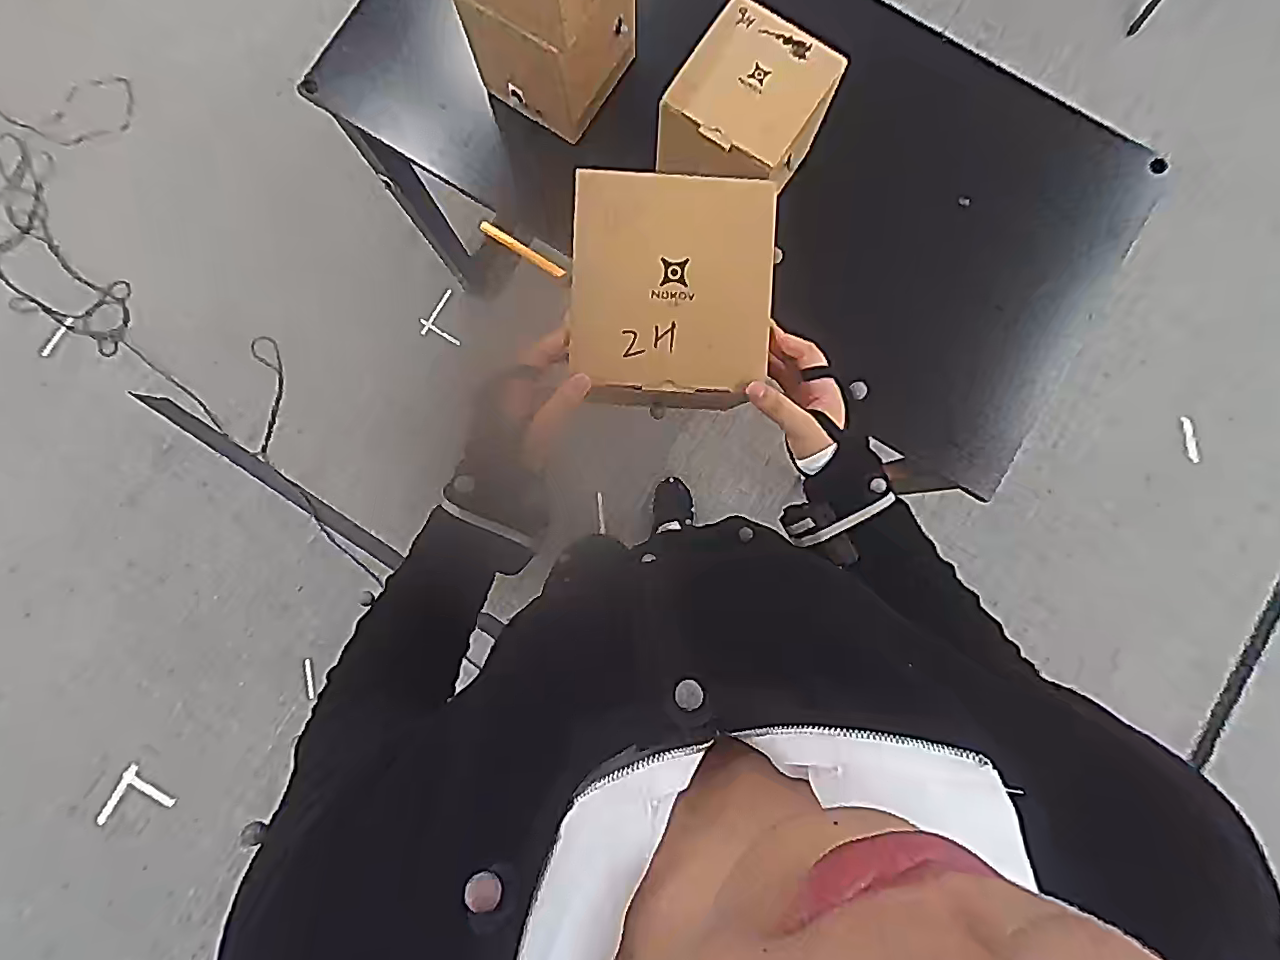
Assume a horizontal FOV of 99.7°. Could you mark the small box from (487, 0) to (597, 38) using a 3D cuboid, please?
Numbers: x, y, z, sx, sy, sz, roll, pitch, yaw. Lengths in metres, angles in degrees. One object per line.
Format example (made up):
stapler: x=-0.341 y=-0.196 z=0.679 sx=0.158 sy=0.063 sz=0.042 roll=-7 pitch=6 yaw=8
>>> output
small box: x=-0.123 y=-0.643 z=0.585 sx=0.179 sy=0.176 sz=0.168 roll=31 pitch=86 yaw=2

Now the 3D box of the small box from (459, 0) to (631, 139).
small box: x=-0.122 y=-0.632 z=0.749 sx=0.168 sy=0.176 sz=0.179 roll=31 pitch=87 yaw=3

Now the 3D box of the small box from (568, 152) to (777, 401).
small box: x=0.023 y=-0.176 z=0.518 sx=0.168 sy=0.176 sz=0.179 roll=3 pitch=93 yaw=-2

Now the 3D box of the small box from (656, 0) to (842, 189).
small box: x=0.136 y=-0.482 z=0.738 sx=0.168 sy=0.176 sz=0.179 roll=34 pitch=86 yaw=2
